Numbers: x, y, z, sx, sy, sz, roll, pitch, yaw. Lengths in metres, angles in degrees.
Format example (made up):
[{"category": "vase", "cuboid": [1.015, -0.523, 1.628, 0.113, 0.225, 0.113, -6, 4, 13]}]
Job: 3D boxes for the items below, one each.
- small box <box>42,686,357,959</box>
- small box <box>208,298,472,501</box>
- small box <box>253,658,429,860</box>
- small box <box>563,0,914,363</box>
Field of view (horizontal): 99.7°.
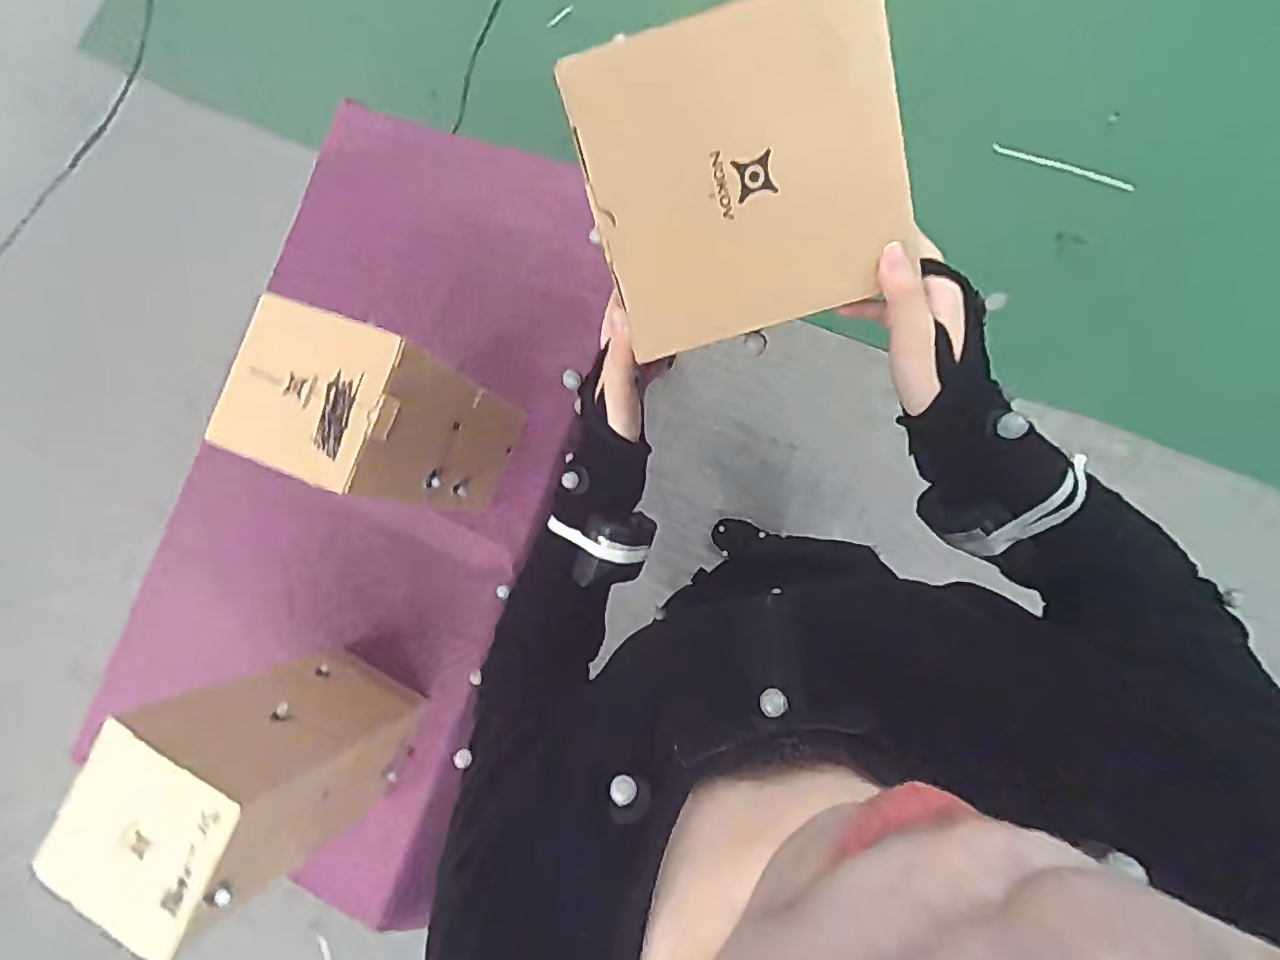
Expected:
[{"category": "small box", "cuboid": [-0.462, 0.349, 0.593, 0.179, 0.176, 0.168, 25, 89, 11]}, {"category": "small box", "cuboid": [-0.325, -0.079, 0.622, 0.179, 0.176, 0.168, 19, 86, 12]}, {"category": "small box", "cuboid": [-0.438, 0.367, 0.755, 0.179, 0.176, 0.168, 25, 88, 10]}, {"category": "small box", "cuboid": [0.062, -0.189, 0.385, 0.179, 0.176, 0.168, -14, 104, 6]}]
